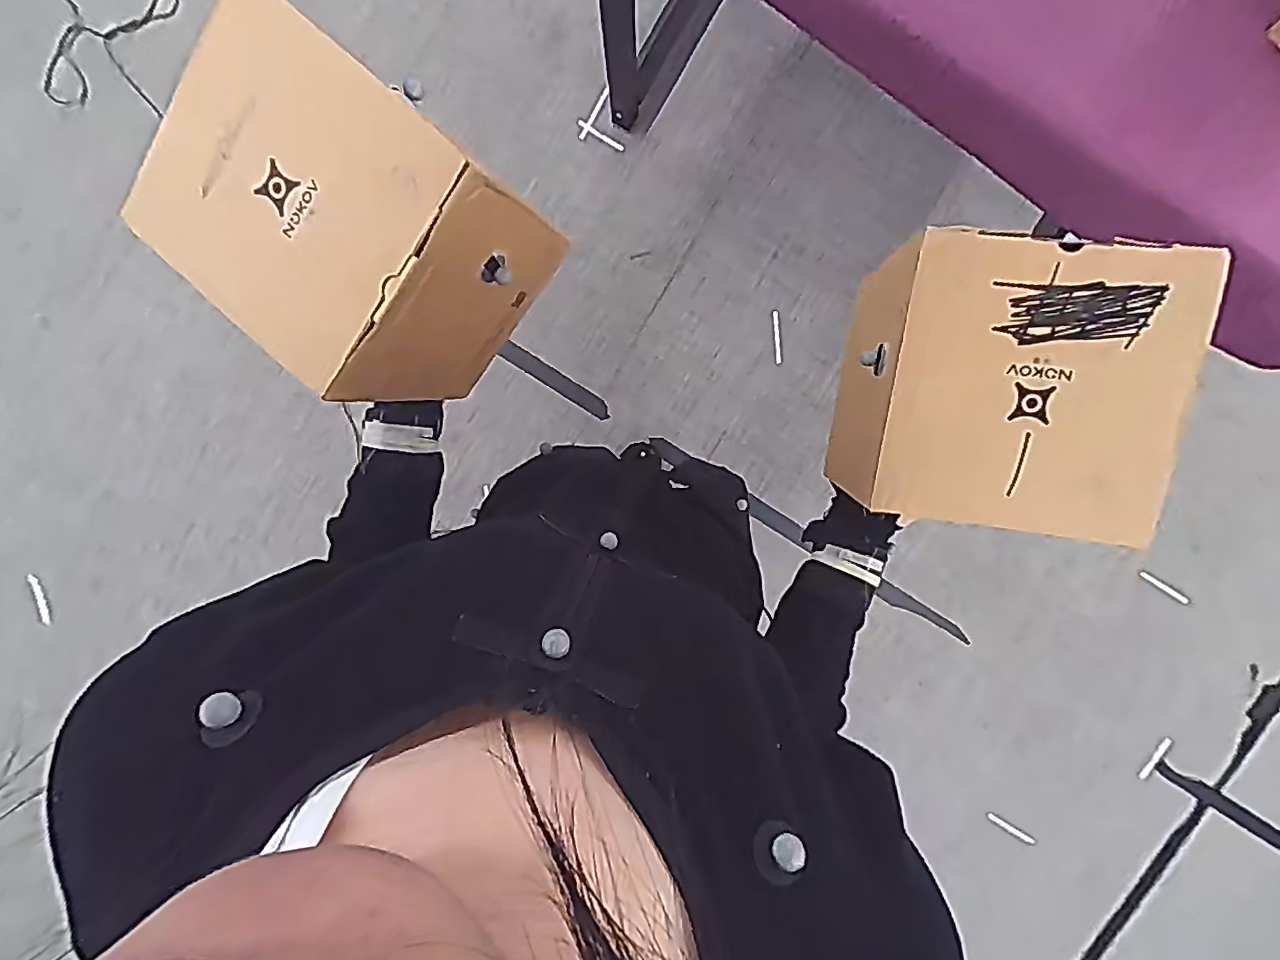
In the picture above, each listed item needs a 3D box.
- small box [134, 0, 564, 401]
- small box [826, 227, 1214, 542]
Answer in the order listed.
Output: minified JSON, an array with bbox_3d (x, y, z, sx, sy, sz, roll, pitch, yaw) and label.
[{"bbox_3d":[-0.183,-0.175,0.389,0.179,0.176,0.168,41,104,4],"label":"small box"},{"bbox_3d":[0.250,-0.069,0.410,0.168,0.176,0.179,8,100,7],"label":"small box"}]
